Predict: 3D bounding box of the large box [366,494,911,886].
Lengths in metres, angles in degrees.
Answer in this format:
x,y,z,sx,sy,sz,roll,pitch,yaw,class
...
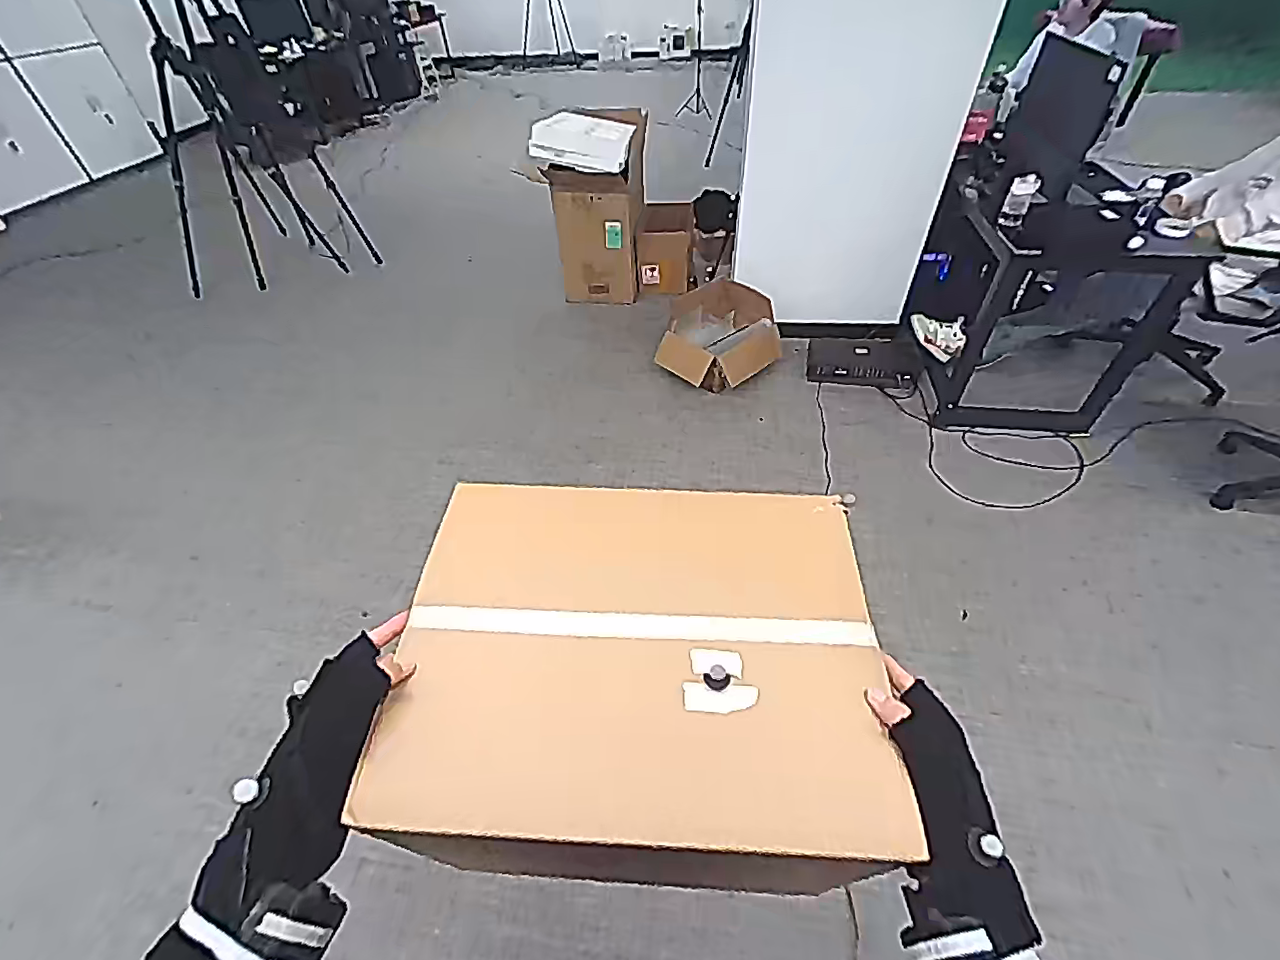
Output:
x,y,z,sx,sy,sz,roll,pitch,yaw,class
0.002,0.233,0.596,0.408,0.320,0.320,2,49,2,large box
